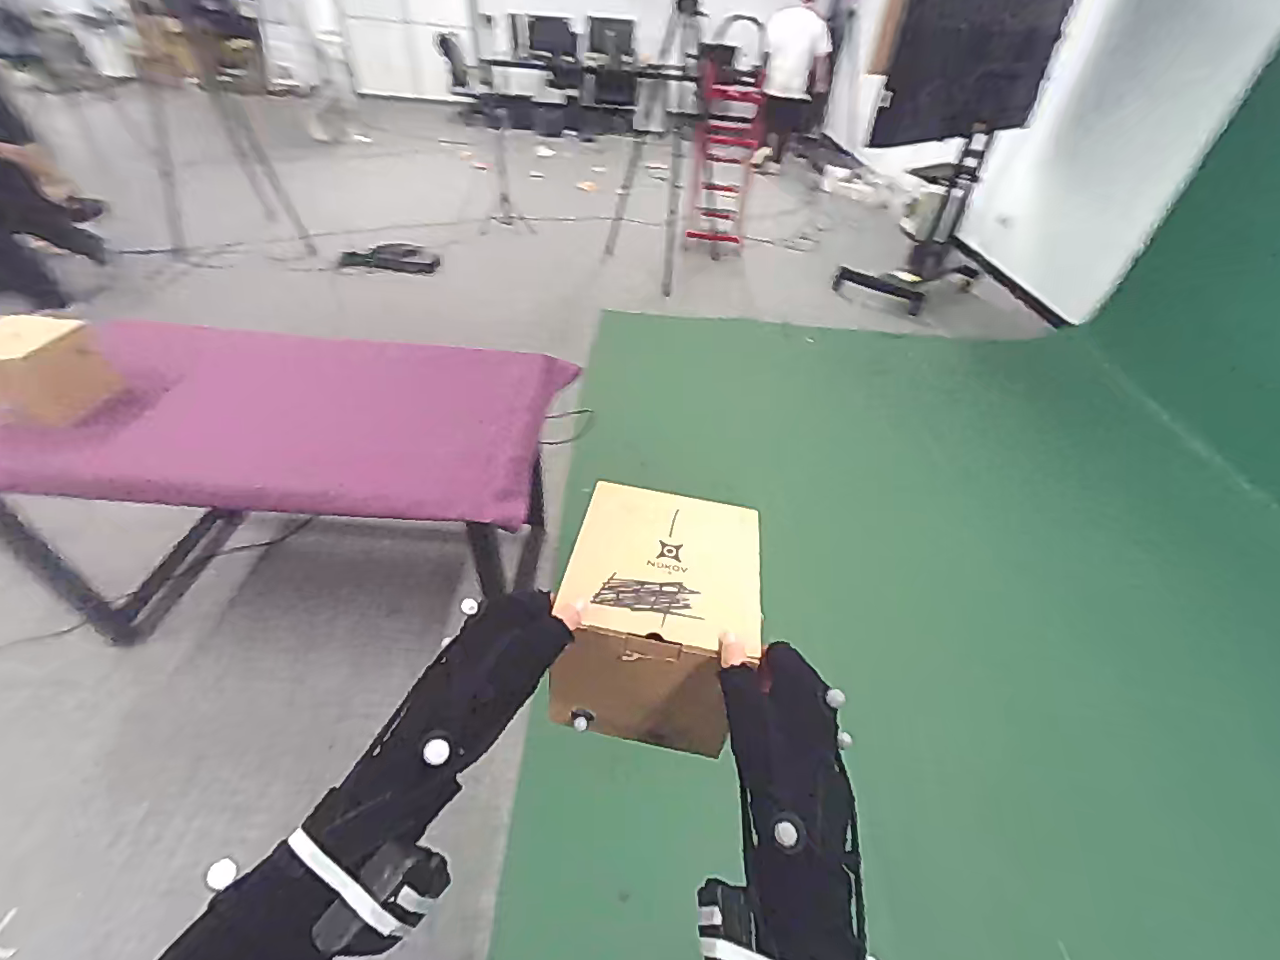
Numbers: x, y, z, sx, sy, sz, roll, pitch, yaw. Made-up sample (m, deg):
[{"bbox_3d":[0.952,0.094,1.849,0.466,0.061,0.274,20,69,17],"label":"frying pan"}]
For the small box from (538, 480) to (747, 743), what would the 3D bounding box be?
[{"bbox_3d":[0.006,0.128,0.533,0.168,0.176,0.179,10,39,3],"label":"small box"}]

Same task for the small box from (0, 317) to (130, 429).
[{"bbox_3d":[-1.285,-0.235,1.184,0.168,0.176,0.179,5,42,0],"label":"small box"}]
